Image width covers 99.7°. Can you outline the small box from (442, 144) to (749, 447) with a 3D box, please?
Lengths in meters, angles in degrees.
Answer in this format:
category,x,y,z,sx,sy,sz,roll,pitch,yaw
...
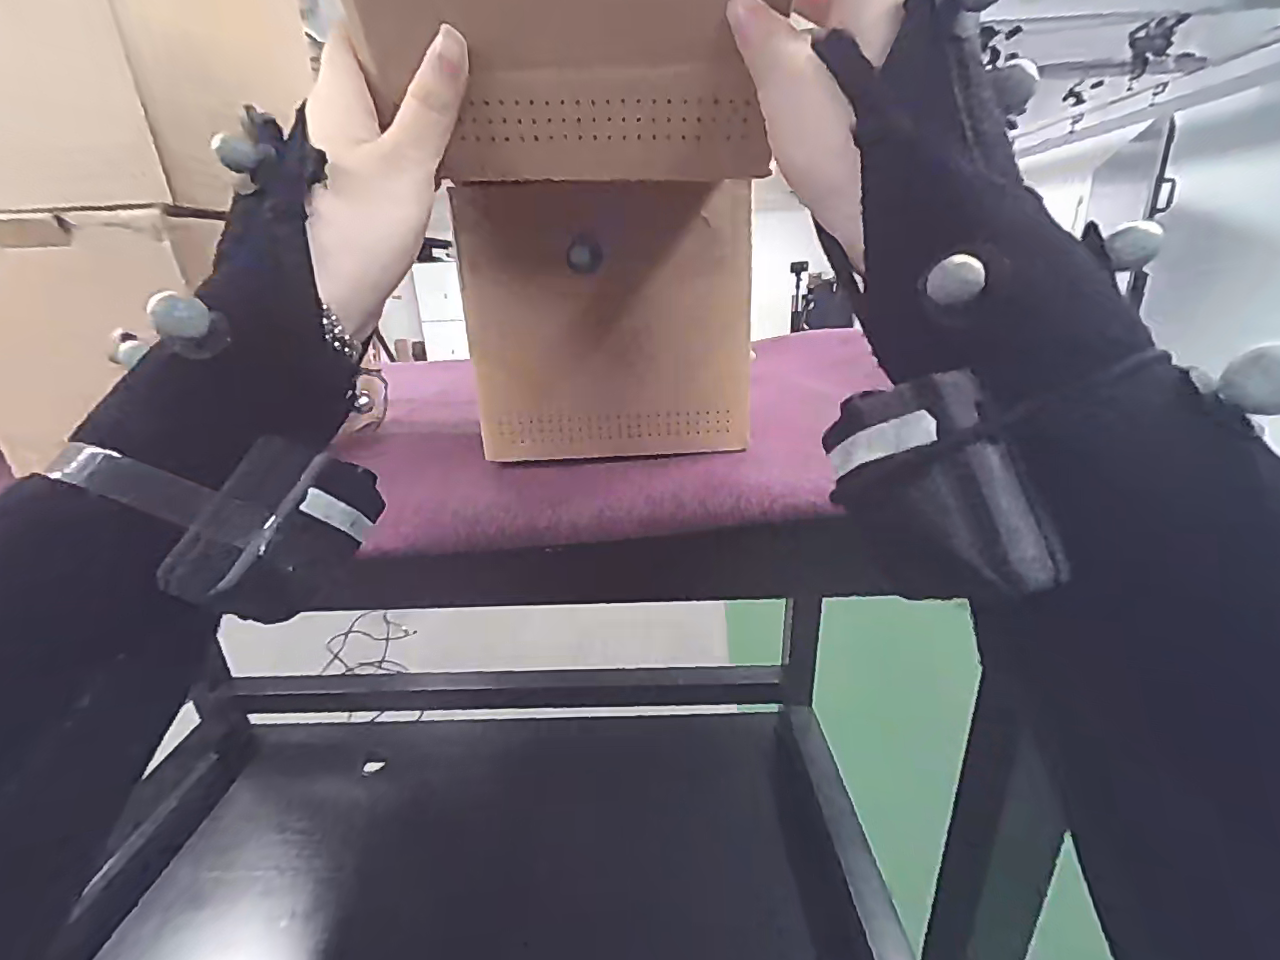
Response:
category,x,y,z,sx,sy,sz,roll,pitch,yaw
small box,-0.019,-0.125,0.397,0.179,0.176,0.168,-3,19,1

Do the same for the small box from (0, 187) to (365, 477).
category,x,y,z,sx,sy,sz,roll,pitch,yaw
small box,-0.332,-0.105,0.398,0.168,0.176,0.179,0,21,3

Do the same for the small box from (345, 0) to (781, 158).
category,x,y,z,sx,sy,sz,roll,pitch,yaw
small box,-0.030,-0.257,0.239,0.179,0.176,0.168,1,46,1

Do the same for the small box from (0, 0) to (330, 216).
category,x,y,z,sx,sy,sz,roll,pitch,yaw
small box,-0.338,-0.260,0.340,0.179,0.176,0.168,-1,22,3
